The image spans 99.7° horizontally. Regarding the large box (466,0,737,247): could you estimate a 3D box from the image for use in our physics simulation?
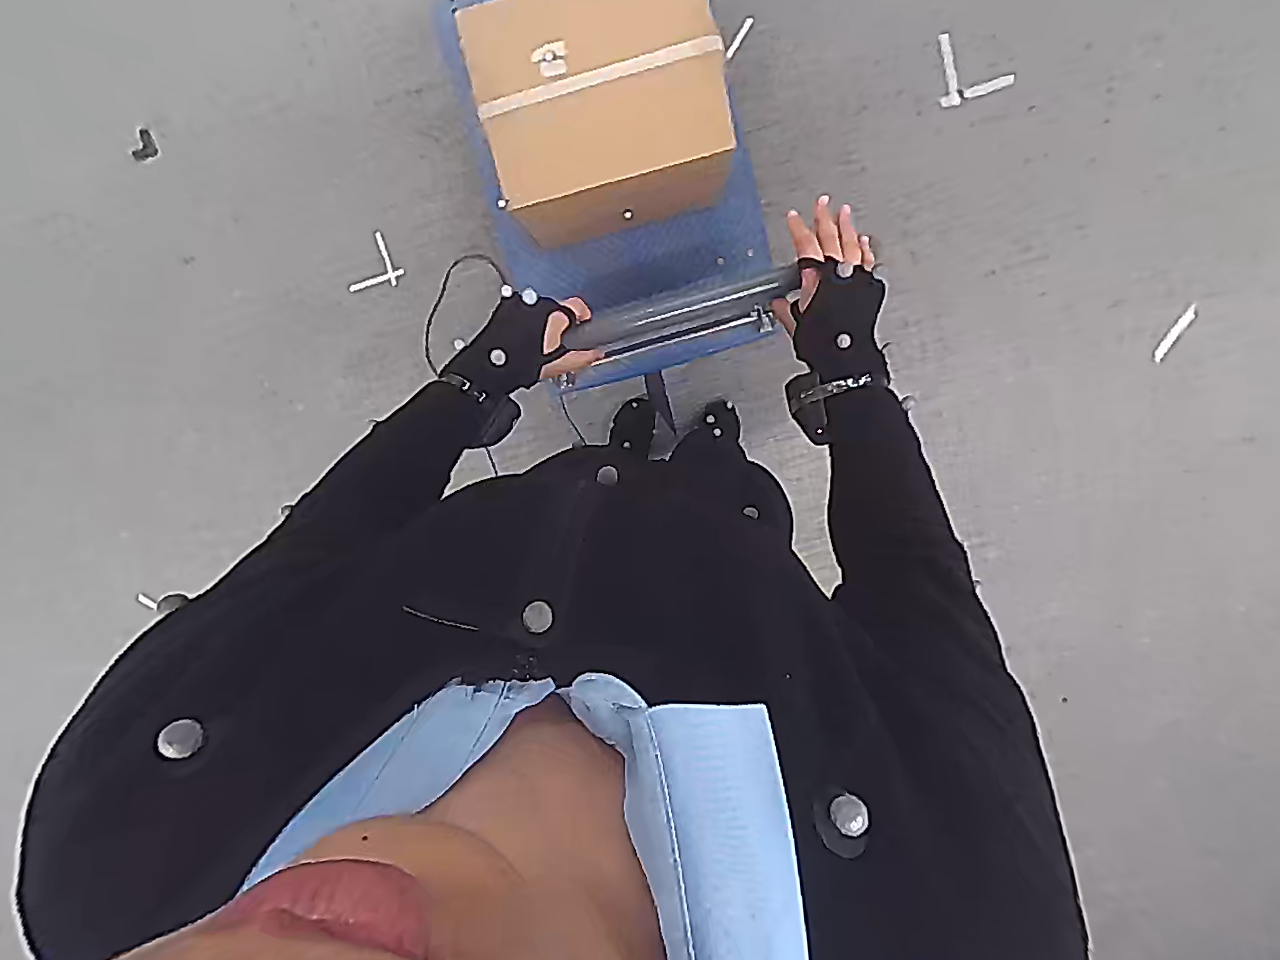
[{"bbox_3d":[-0.055,-0.689,1.048,0.408,0.320,0.320,-13,99,5],"label":"large box"}]
